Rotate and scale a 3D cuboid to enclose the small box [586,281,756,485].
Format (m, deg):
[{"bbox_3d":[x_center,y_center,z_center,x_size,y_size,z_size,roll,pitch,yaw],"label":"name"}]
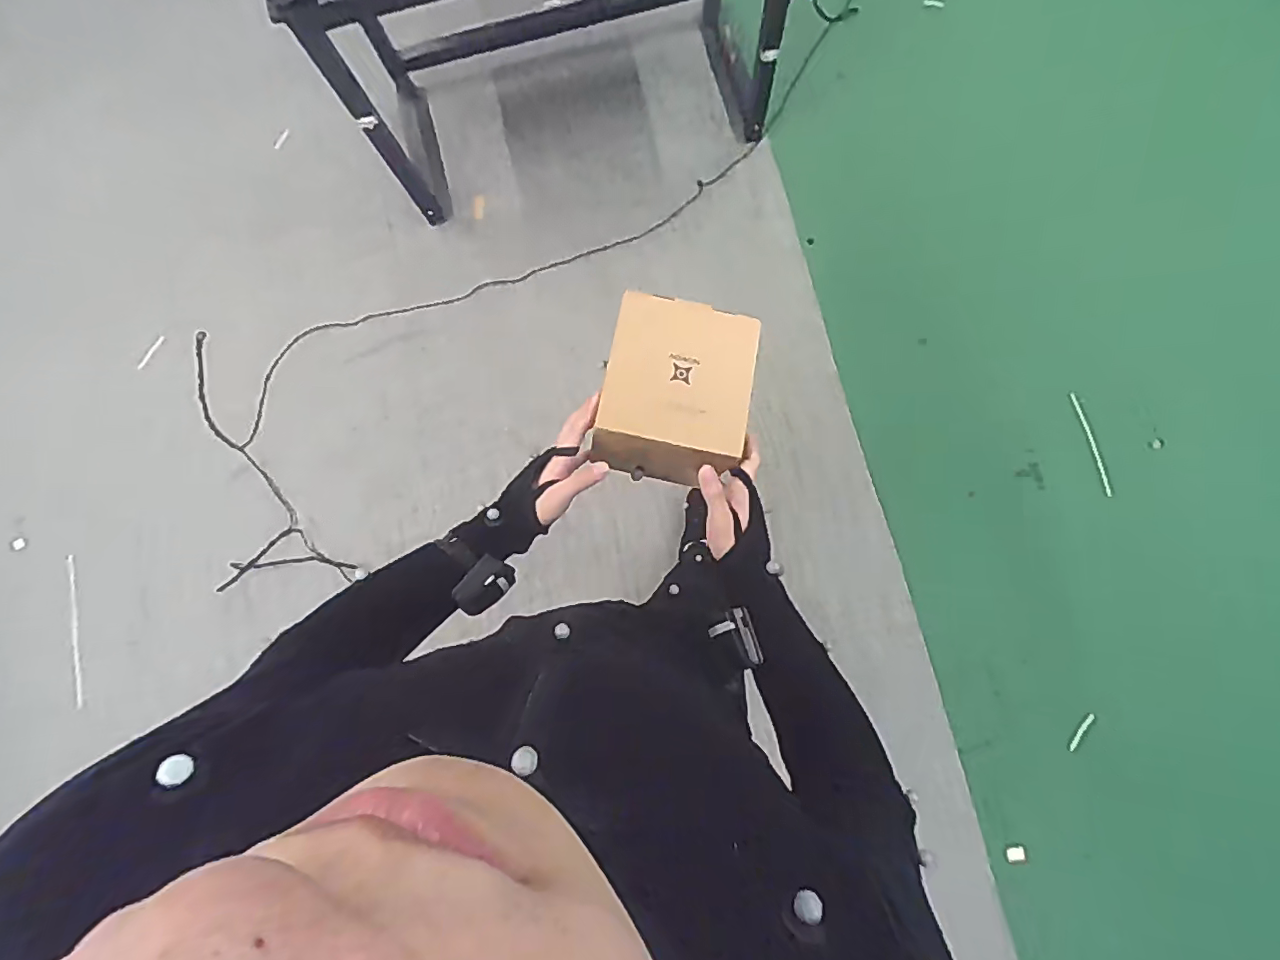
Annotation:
[{"bbox_3d":[0.029,-0.108,0.673,0.168,0.176,0.179,12,76,-4],"label":"small box"}]
